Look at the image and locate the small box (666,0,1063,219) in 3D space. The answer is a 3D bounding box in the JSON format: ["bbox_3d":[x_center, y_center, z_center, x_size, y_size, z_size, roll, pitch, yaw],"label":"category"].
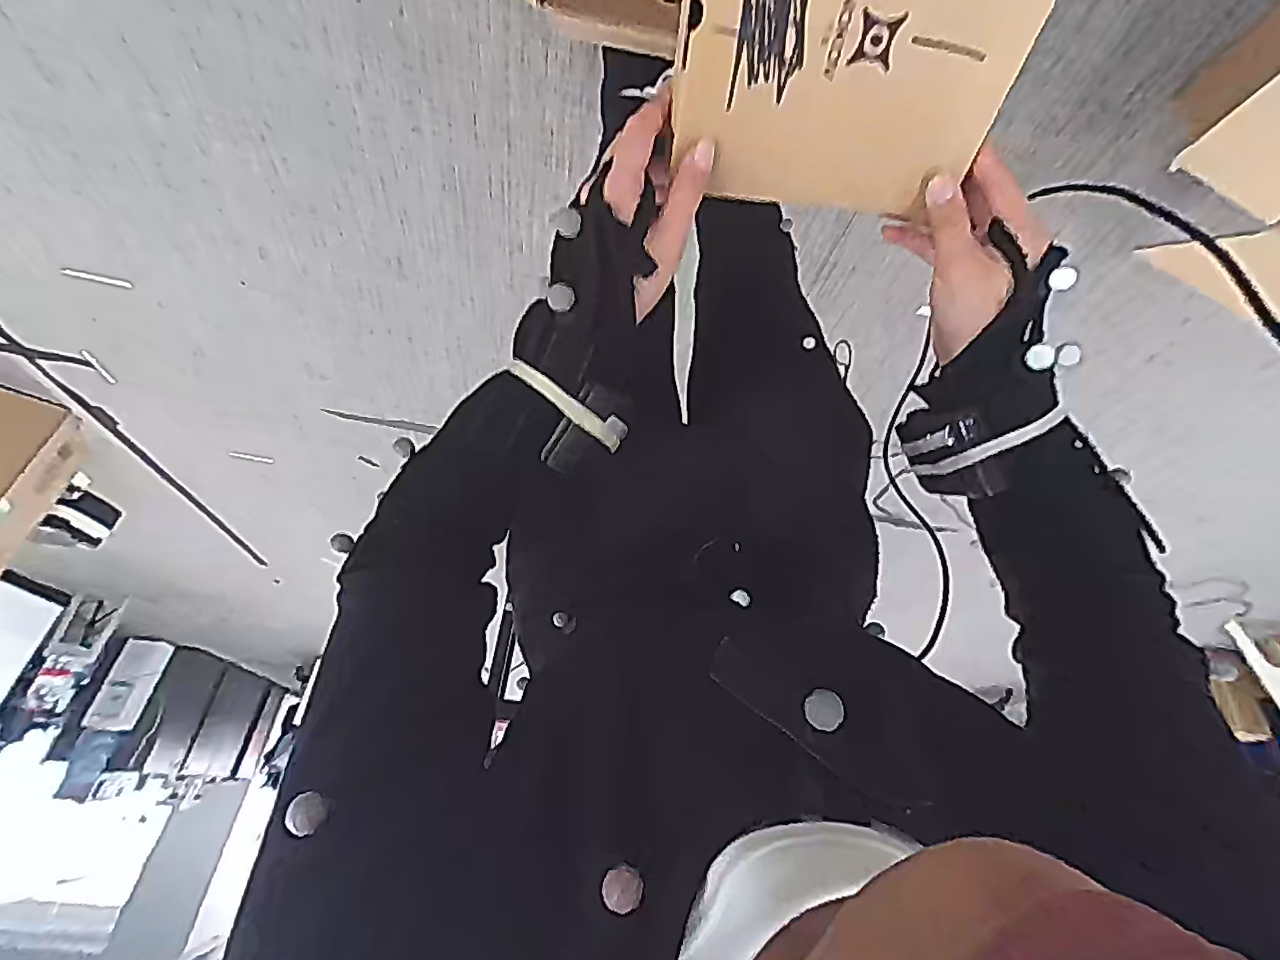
[{"bbox_3d":[0.116,-0.282,0.316,0.179,0.176,0.168,7,140,-2],"label":"small box"}]
